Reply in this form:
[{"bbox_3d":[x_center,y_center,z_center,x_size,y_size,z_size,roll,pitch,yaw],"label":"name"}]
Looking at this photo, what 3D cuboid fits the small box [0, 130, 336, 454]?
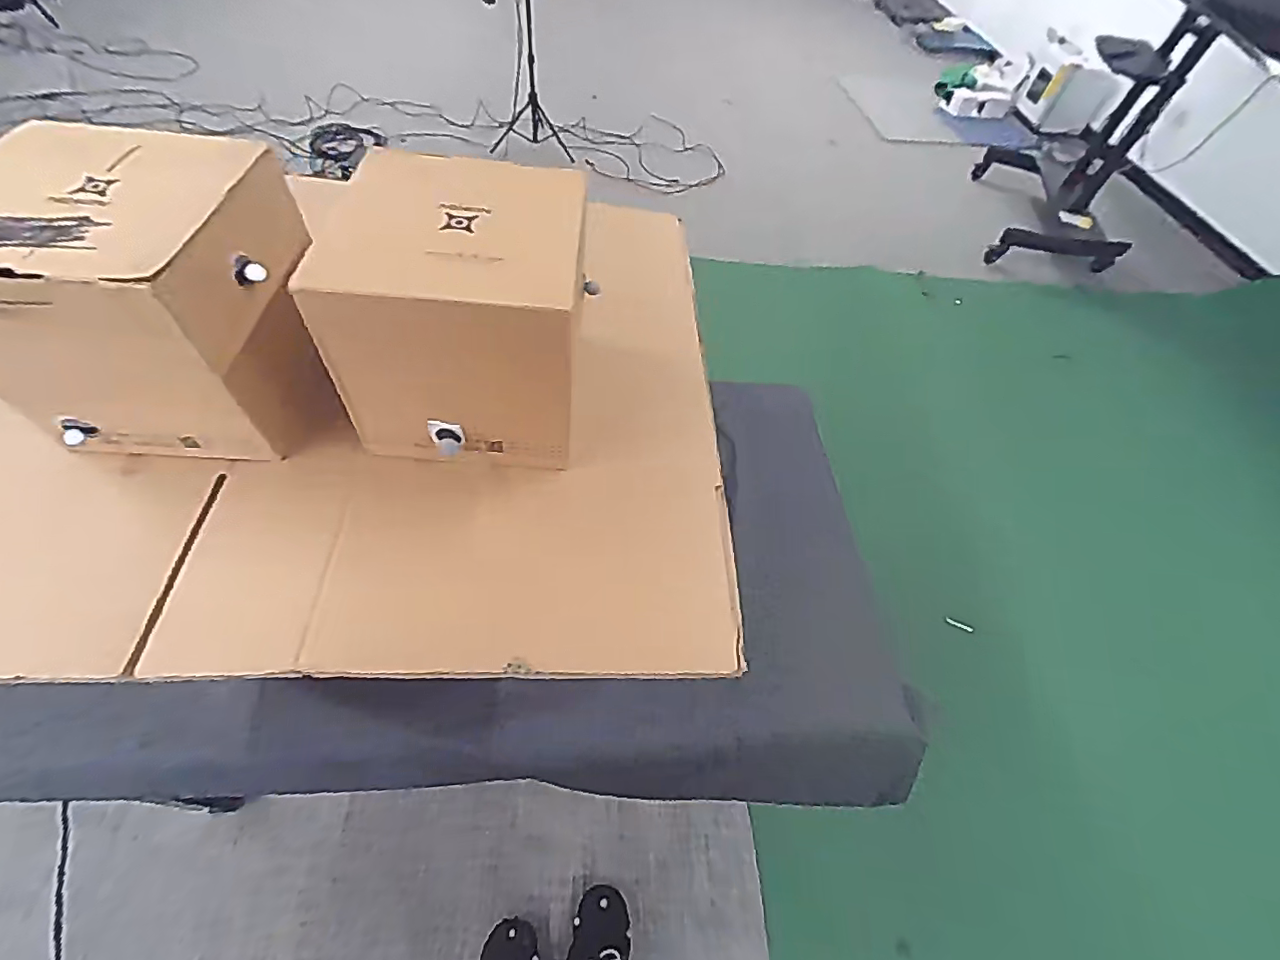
[{"bbox_3d":[-0.367,-0.136,0.418,0.168,0.176,0.179,2,55,-4],"label":"small box"}]
